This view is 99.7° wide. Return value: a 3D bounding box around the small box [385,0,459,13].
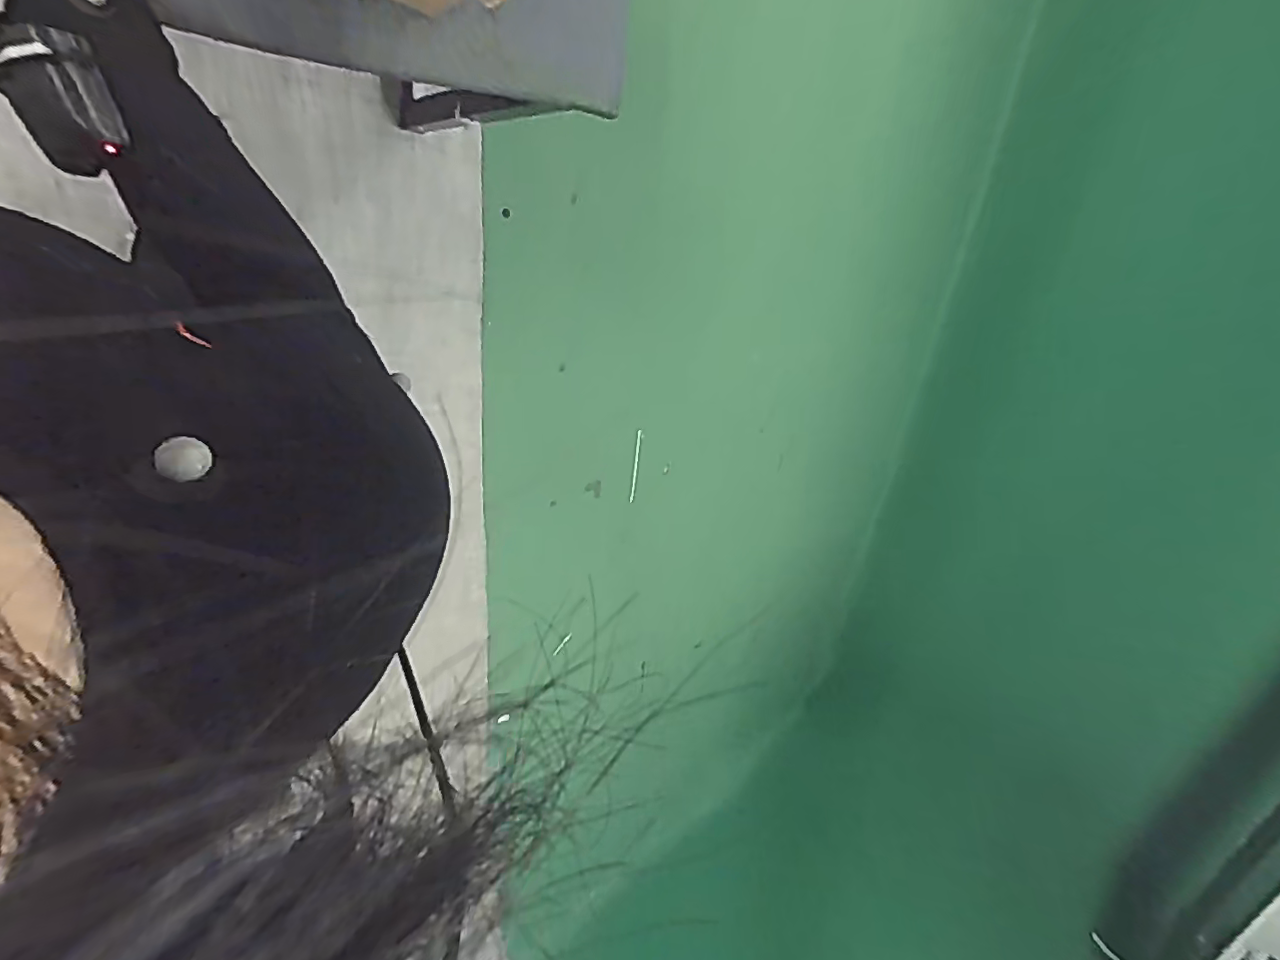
[{"bbox_3d":[-0.233,-0.561,0.475,0.168,0.176,0.179,-12,120,-39],"label":"small box"}]
